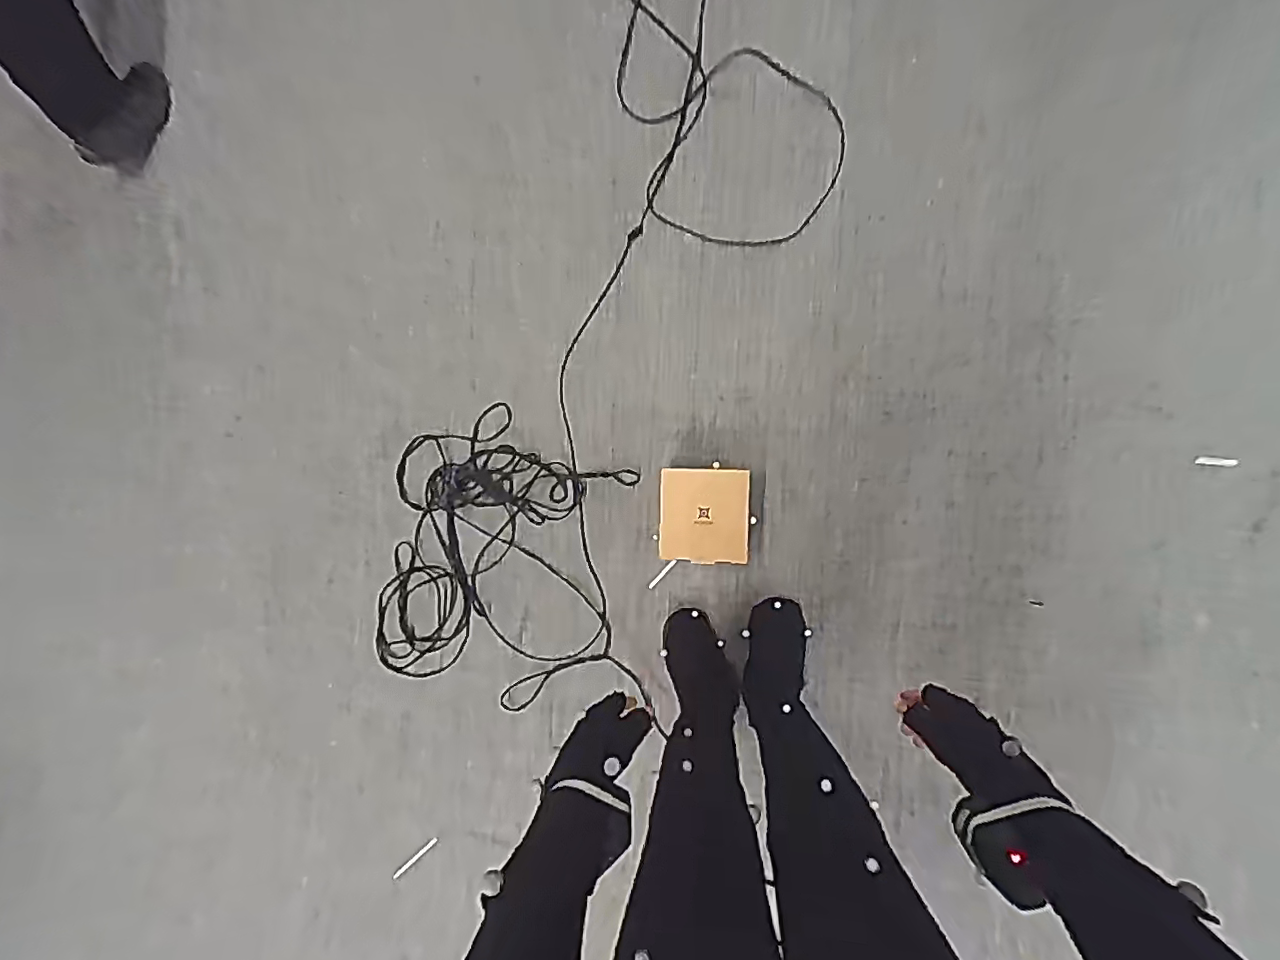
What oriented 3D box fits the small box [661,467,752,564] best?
[{"bbox_3d":[0.131,0.065,1.080,0.168,0.176,0.179,1,92,8],"label":"small box"}]
